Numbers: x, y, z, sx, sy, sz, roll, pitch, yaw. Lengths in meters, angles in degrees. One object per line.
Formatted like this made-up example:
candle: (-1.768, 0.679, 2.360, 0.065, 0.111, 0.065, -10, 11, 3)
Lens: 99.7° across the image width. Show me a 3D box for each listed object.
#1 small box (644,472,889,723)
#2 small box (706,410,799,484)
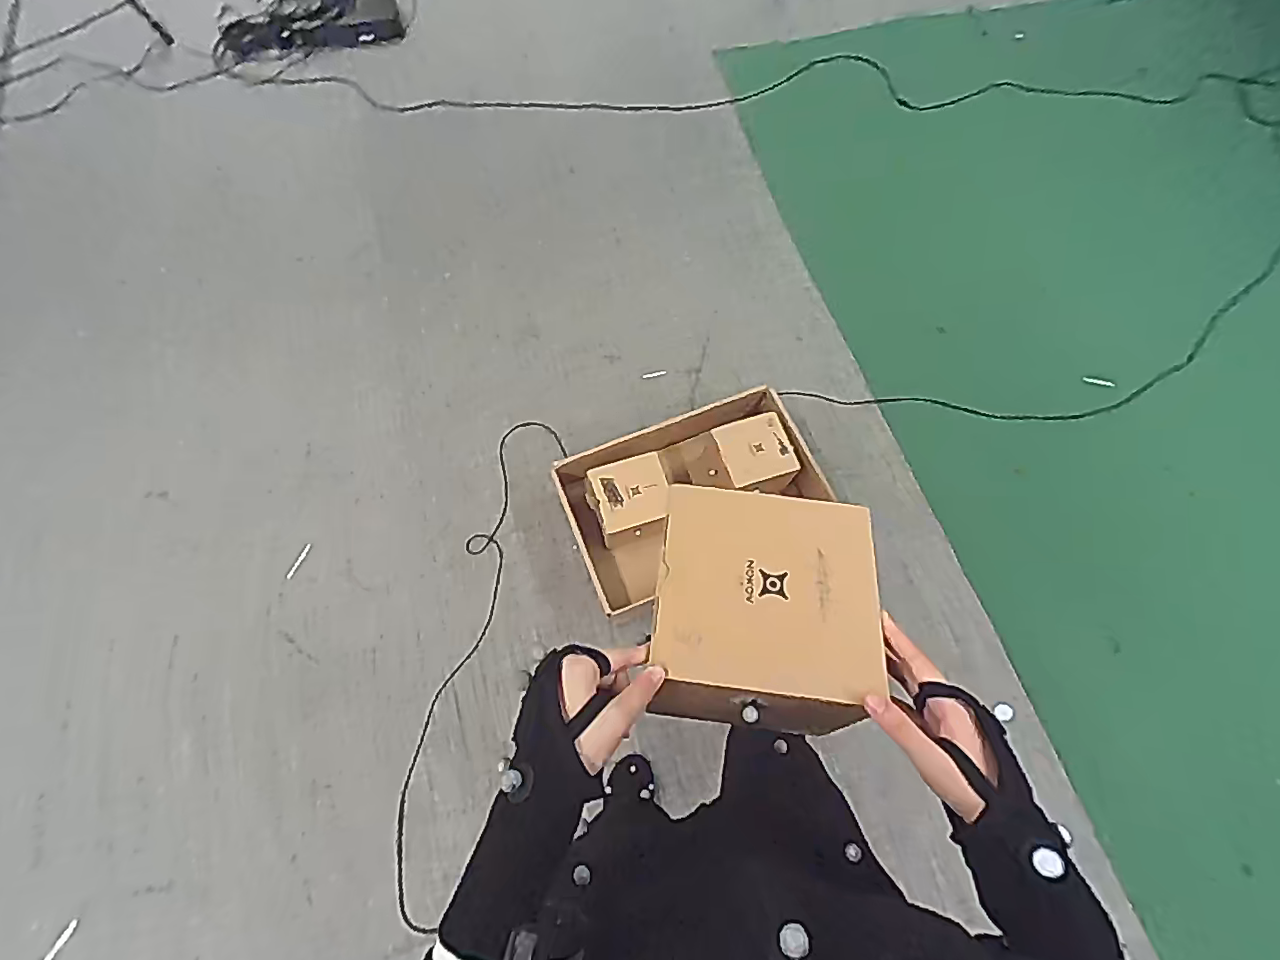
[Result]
small box: (0.100, 0.114, 0.495, 0.179, 0.176, 0.168, 8, 58, 2)
small box: (0.277, -0.052, 1.384, 0.179, 0.176, 0.168, -16, 72, -7)
